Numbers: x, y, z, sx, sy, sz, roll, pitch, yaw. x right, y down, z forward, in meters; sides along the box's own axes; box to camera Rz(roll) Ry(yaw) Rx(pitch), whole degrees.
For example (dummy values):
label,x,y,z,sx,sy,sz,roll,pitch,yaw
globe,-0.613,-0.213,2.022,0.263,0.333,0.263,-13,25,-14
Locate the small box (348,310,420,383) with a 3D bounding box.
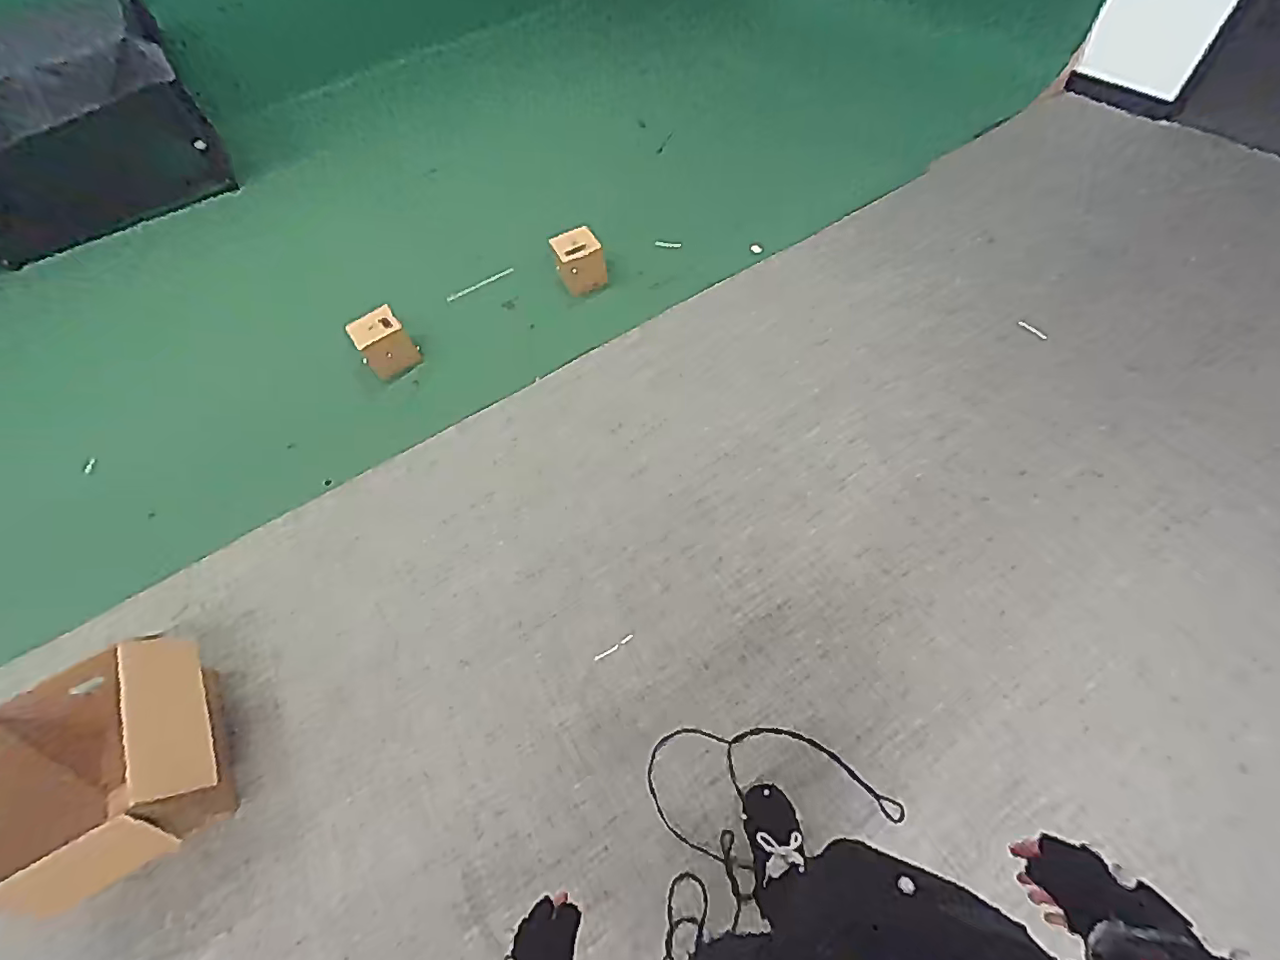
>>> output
label,x,y,z,sx,sy,sz,roll,pitch,yaw
small box,-0.971,-0.508,2.072,0.179,0.176,0.168,-34,60,-12
